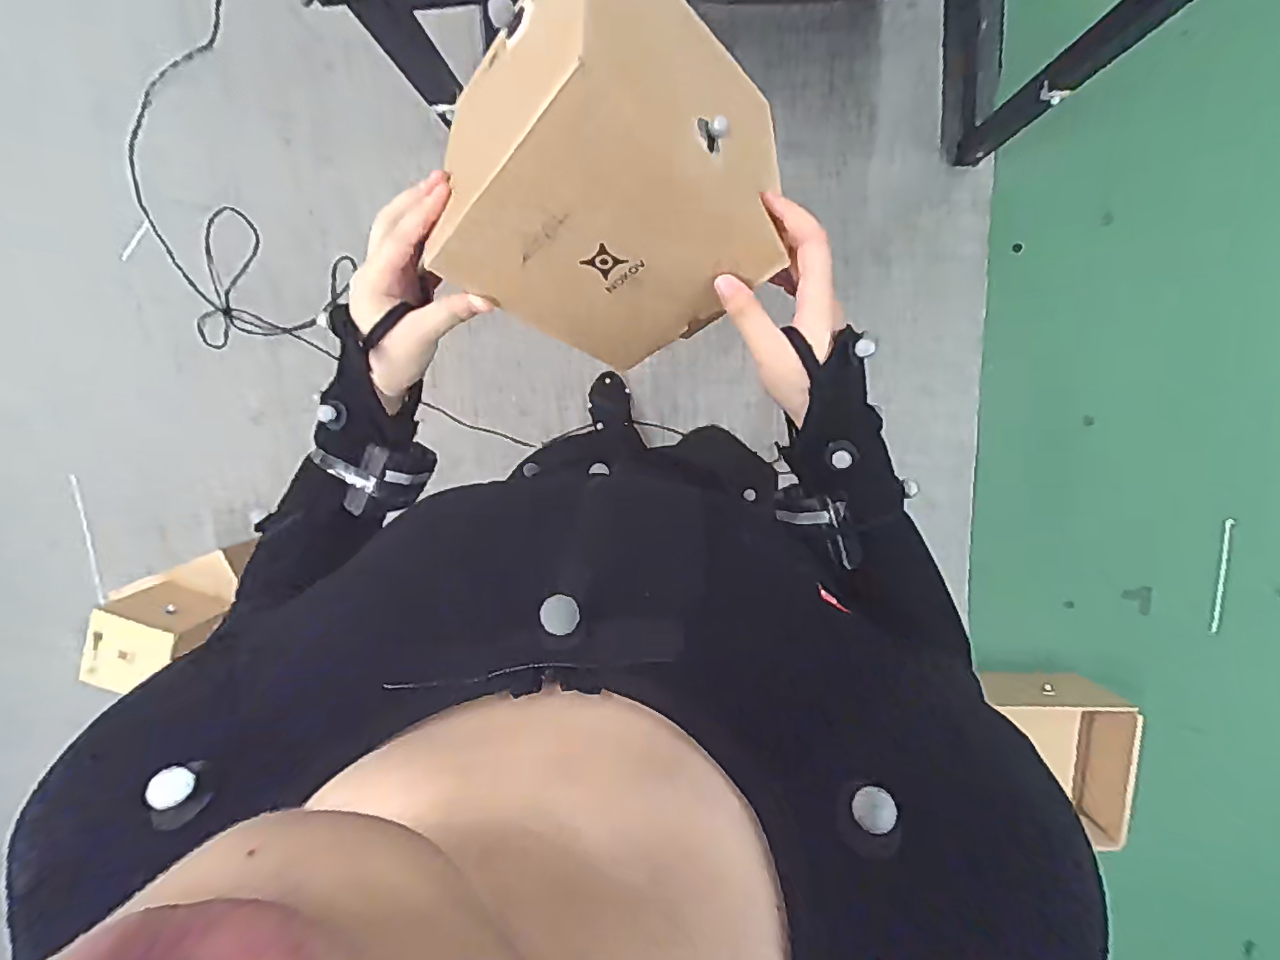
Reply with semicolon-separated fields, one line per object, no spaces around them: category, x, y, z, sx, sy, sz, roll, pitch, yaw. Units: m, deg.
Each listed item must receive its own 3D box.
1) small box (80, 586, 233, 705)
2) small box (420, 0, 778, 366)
small box;-1.042;0.352;1.181;0.179;0.176;0.168;19;99;-3
small box;-0.026;-0.215;0.380;0.168;0.179;0.176;-25;56;43
